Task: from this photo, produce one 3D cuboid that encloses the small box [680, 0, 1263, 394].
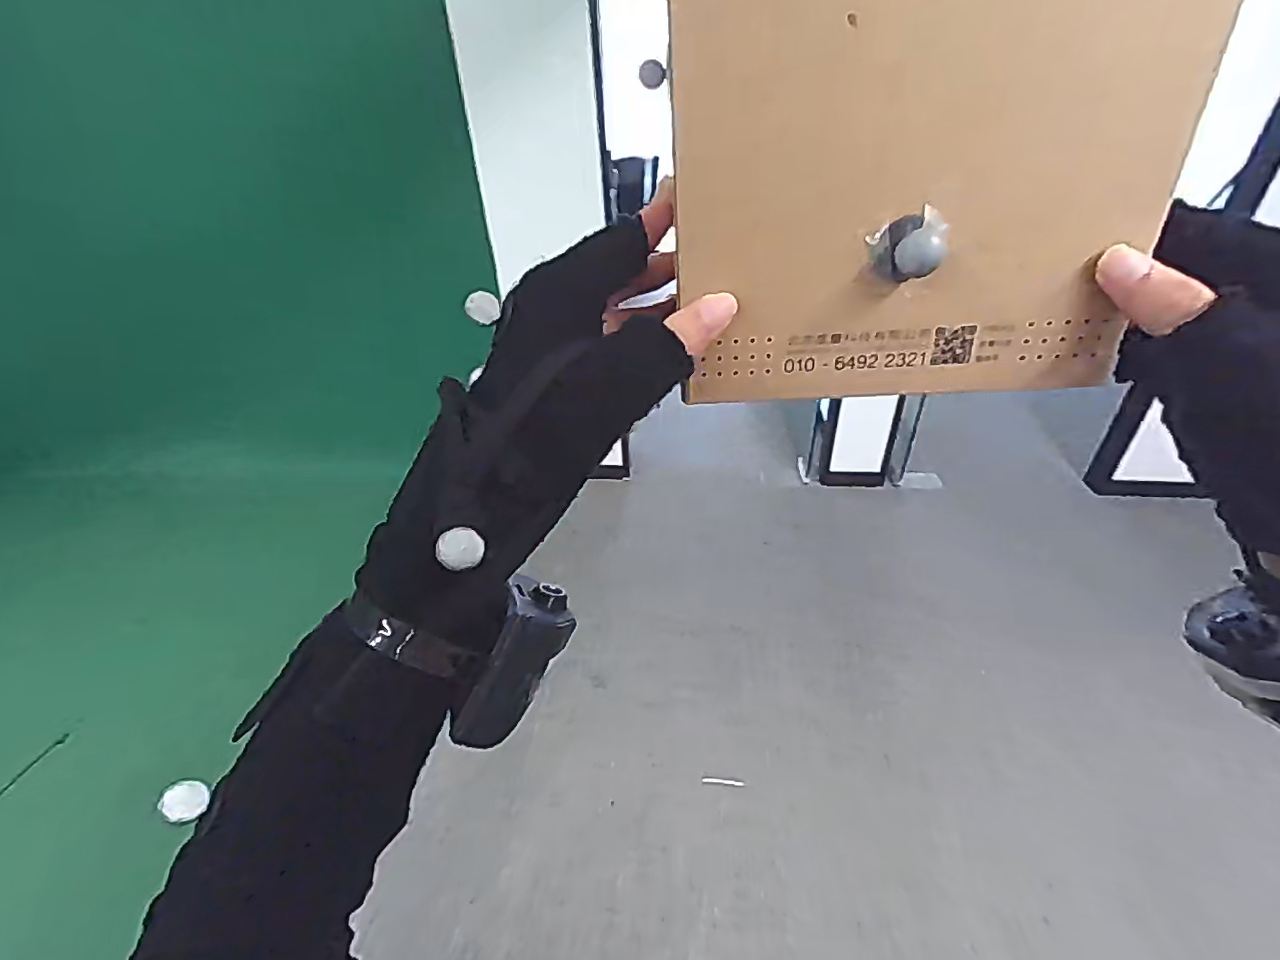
[{"bbox_3d":[0.102,-0.147,0.248,0.168,0.176,0.179,-2,30,6],"label":"small box"}]
